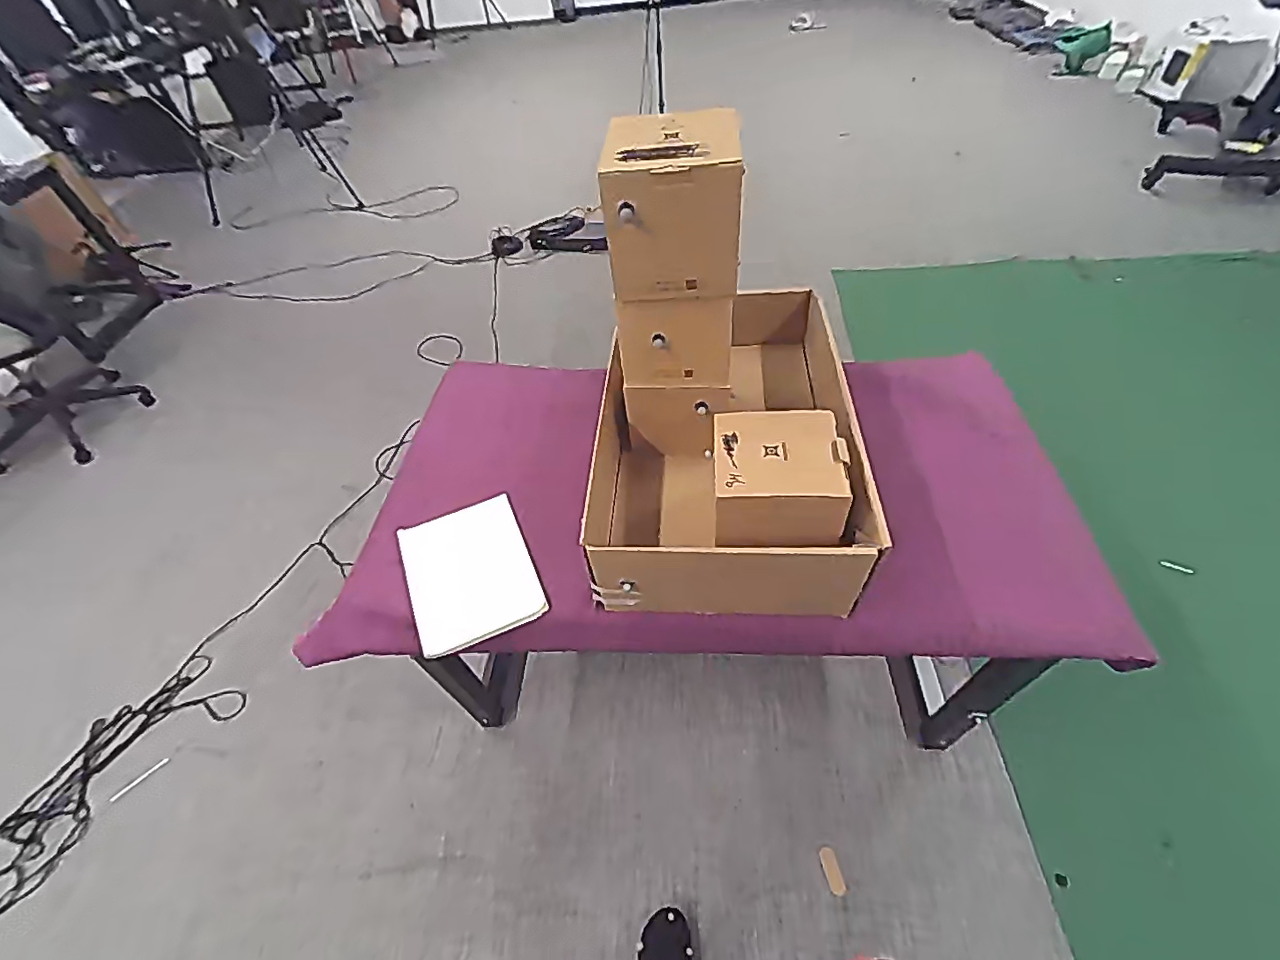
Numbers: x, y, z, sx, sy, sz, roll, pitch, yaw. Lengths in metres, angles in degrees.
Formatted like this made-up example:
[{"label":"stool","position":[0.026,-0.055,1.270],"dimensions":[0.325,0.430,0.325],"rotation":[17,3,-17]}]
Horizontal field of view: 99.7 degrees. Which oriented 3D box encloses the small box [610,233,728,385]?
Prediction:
[{"label":"small box","position":[0.055,-0.265,0.856],"dimensions":[0.168,0.176,0.179],"rotation":[1,51,7]}]
